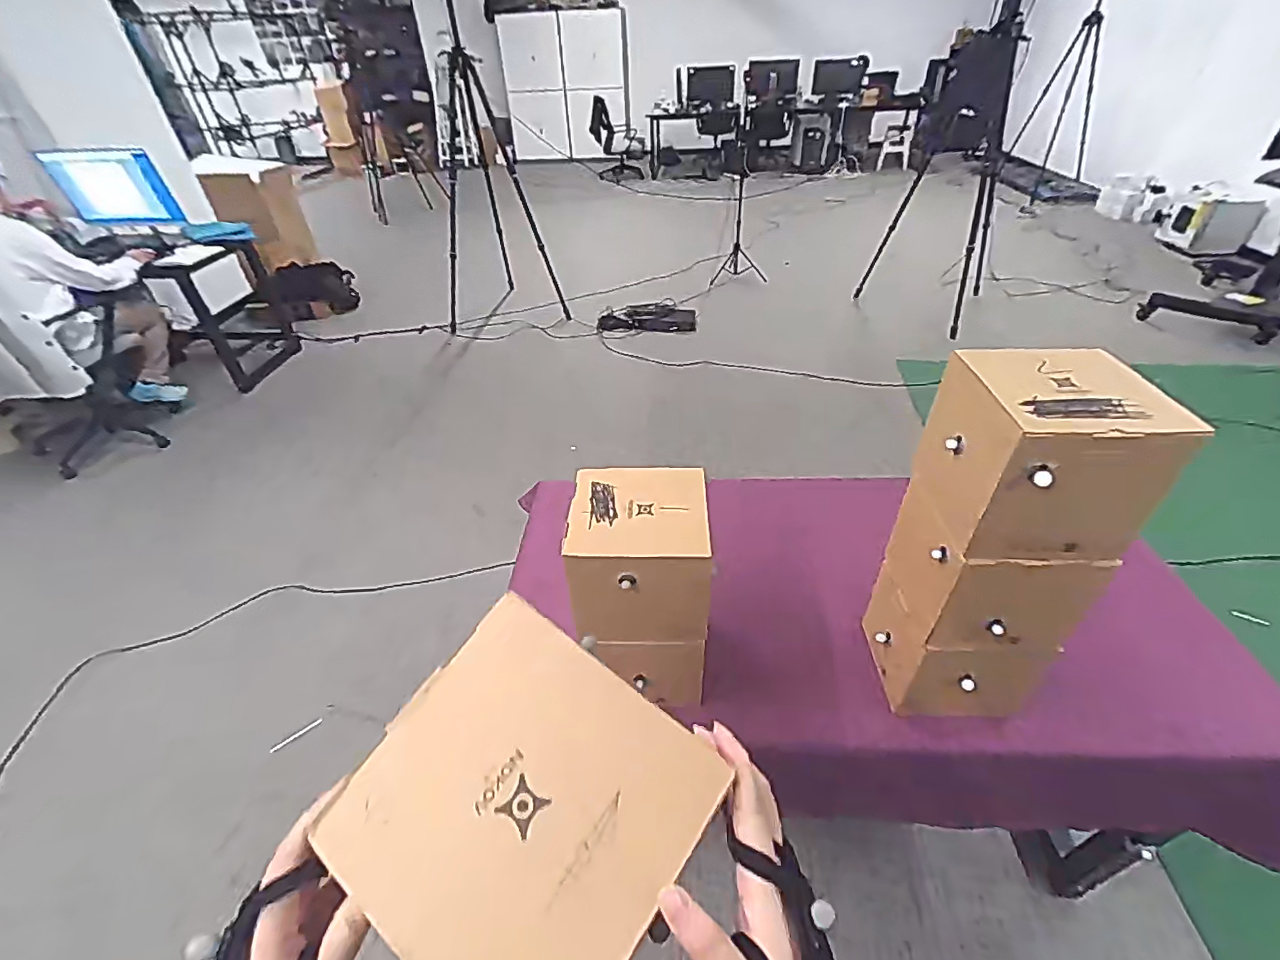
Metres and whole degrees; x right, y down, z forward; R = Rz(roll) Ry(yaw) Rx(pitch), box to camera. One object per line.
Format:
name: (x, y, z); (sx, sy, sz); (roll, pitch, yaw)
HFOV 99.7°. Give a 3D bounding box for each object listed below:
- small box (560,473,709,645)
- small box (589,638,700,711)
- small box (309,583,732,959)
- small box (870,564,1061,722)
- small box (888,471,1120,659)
small box: (0.000, 0.106, 0.730); (0.179, 0.176, 0.168); (0, 39, 3)
small box: (0.009, 0.234, 0.833); (0.168, 0.176, 0.179); (0, 38, 3)
small box: (-0.060, 0.205, 0.359); (0.179, 0.176, 0.168); (32, 68, 22)
small box: (0.455, 0.238, 0.797); (0.179, 0.176, 0.168); (-1, 39, 4)
small box: (0.444, 0.106, 0.701); (0.168, 0.176, 0.179); (0, 39, 4)
